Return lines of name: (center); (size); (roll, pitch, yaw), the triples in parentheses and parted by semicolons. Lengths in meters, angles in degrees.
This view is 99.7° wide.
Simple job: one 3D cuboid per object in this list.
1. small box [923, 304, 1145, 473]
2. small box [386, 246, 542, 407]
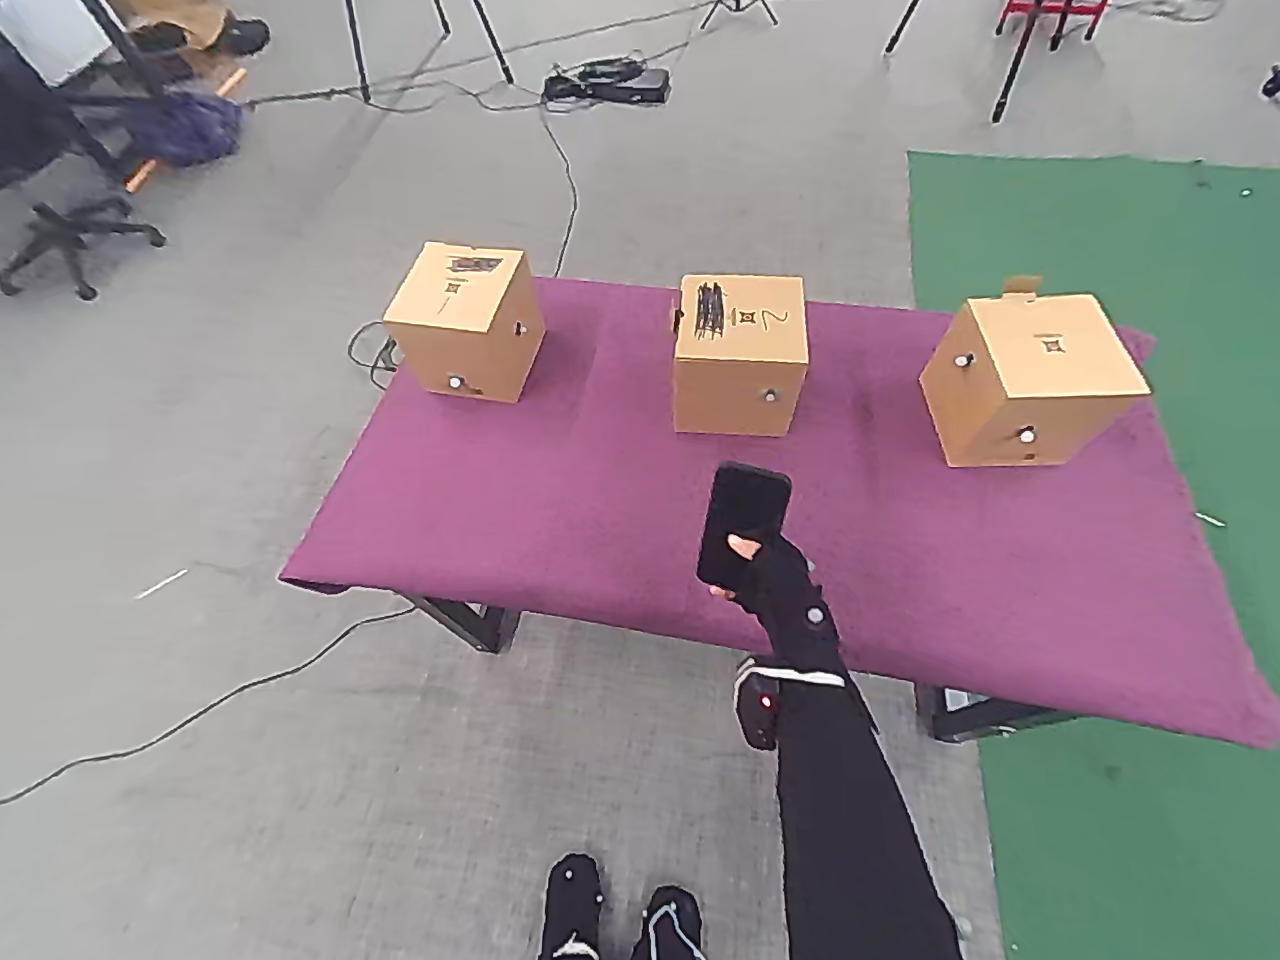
small box: (0.528, -0.120, 0.758); (0.168, 0.176, 0.179); (-1, 59, 4)
small box: (-0.268, -0.246, 0.877); (0.168, 0.176, 0.179); (9, 62, 9)
